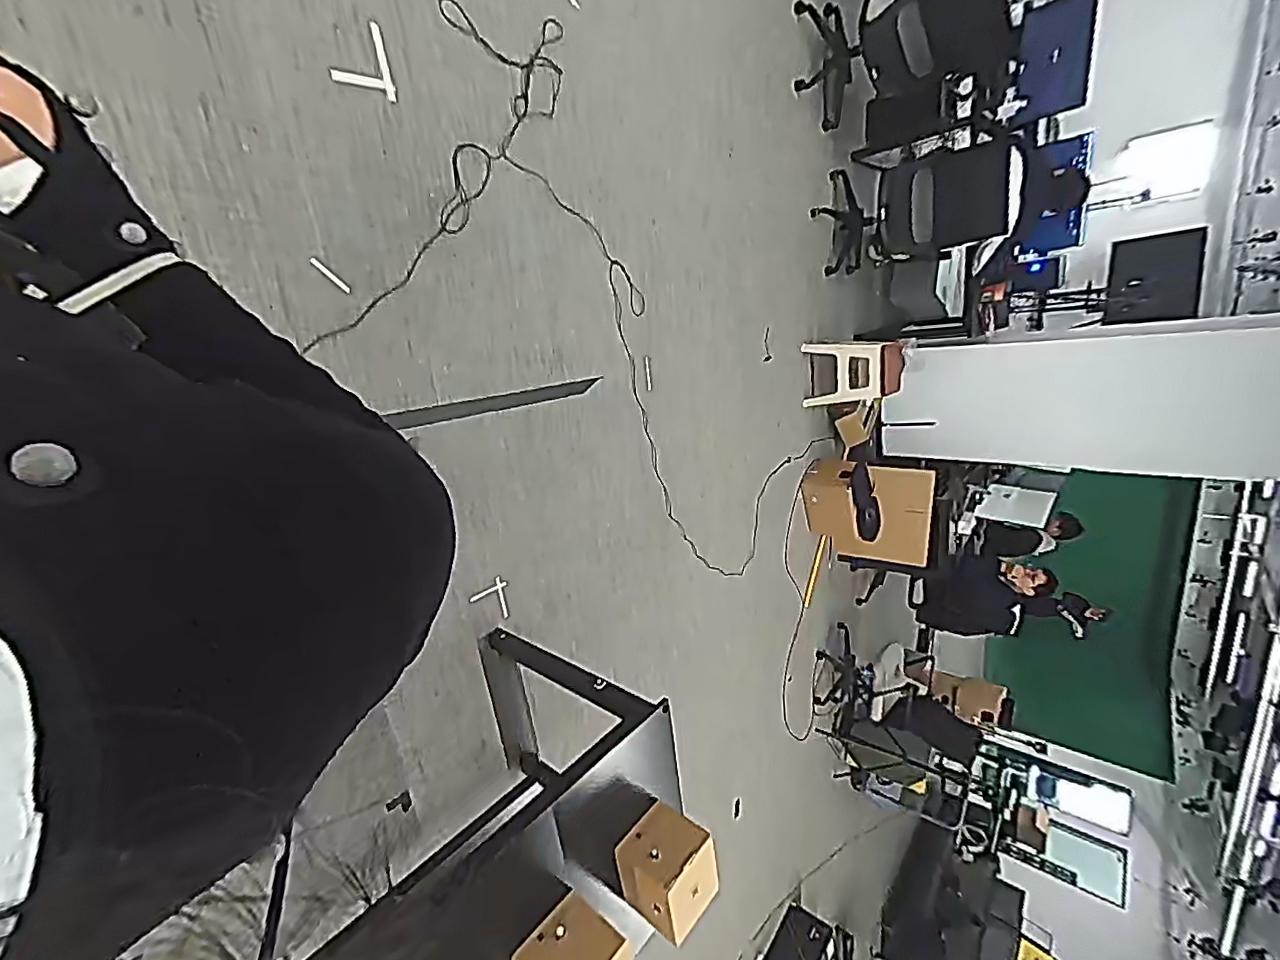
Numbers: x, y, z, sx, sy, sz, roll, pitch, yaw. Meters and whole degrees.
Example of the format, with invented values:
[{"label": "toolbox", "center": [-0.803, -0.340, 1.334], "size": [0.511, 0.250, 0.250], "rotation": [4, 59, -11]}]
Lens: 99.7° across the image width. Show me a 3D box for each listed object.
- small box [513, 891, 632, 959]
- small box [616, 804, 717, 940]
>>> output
[{"label": "small box", "center": [-0.129, 0.986, 1.080], "size": [0.168, 0.176, 0.179], "rotation": [-25, 113, -44]}, {"label": "small box", "center": [0.061, 0.910, 1.283], "size": [0.168, 0.176, 0.179], "rotation": [-25, 115, -42]}]
